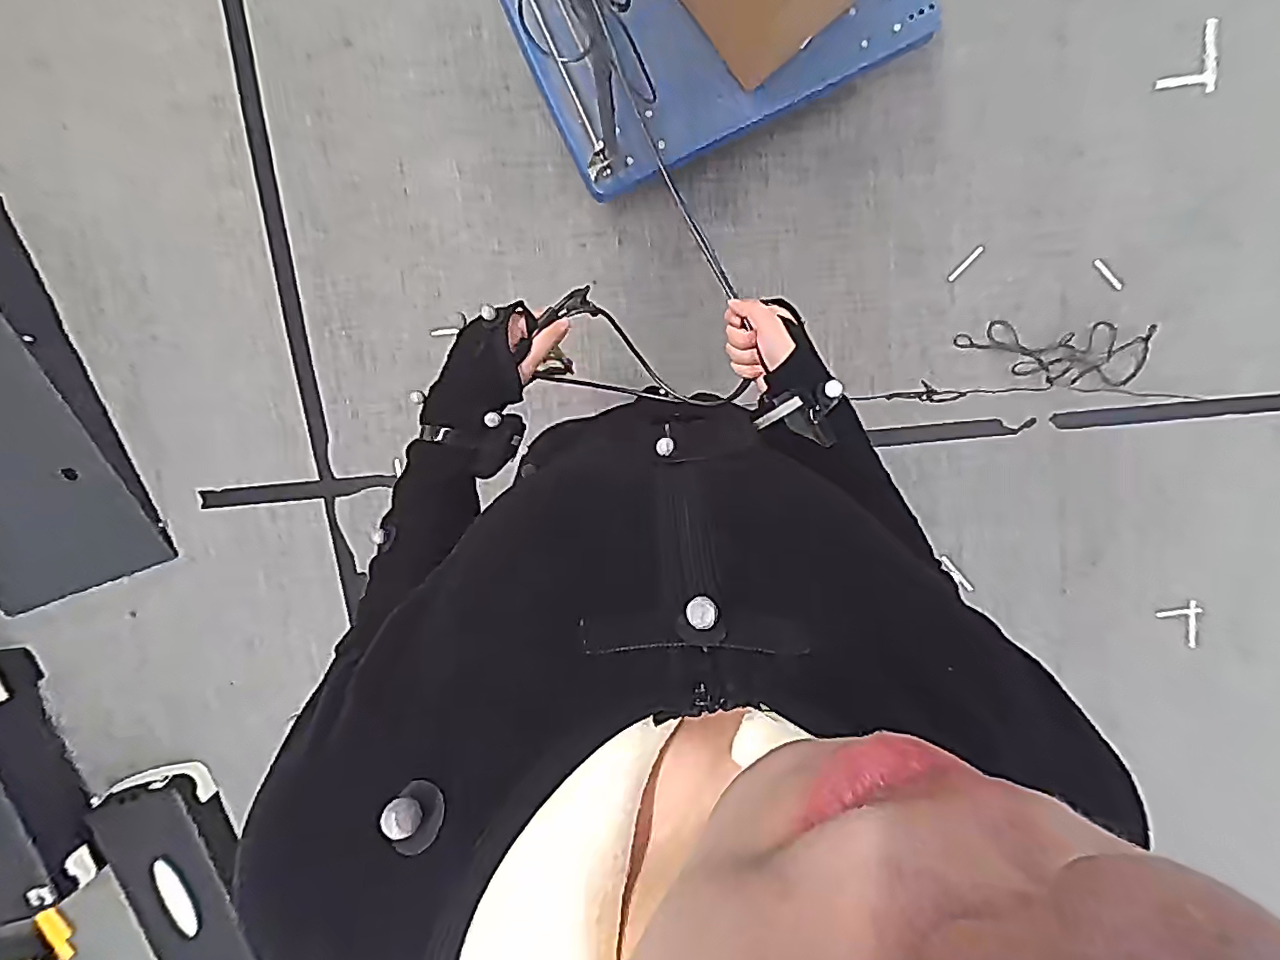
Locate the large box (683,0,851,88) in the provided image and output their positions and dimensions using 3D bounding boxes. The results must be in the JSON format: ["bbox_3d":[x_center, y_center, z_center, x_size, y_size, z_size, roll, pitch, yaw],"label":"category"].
[{"bbox_3d":[0.234,-1.082,1.013,0.320,0.320,0.408,-40,99,4],"label":"large box"}]
